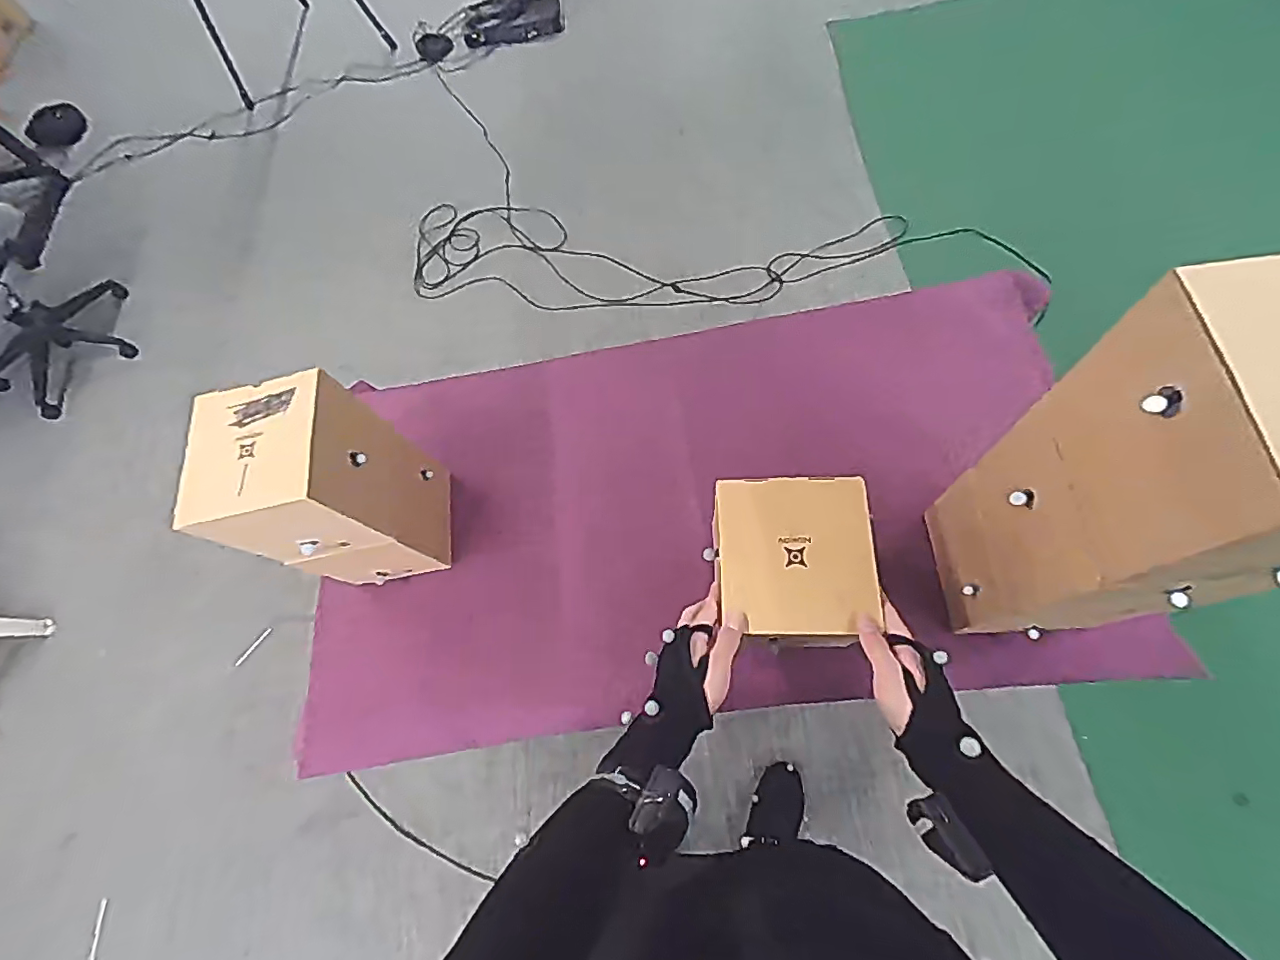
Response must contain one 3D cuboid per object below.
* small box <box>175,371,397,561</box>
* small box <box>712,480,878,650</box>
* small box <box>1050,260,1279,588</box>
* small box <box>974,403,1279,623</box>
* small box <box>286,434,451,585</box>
[{"bbox_3d":[-0.436,-0.009,0.699,0.168,0.176,0.179,-12,67,5],"label":"small box"},{"bbox_3d":[0.174,0.111,0.658,0.168,0.176,0.179,-1,68,7],"label":"small box"},{"bbox_3d":[0.432,-0.030,0.377,0.168,0.176,0.179,-4,67,9],"label":"small box"},{"bbox_3d":[0.459,0.035,0.526,0.168,0.176,0.179,-5,66,9],"label":"small box"},{"bbox_3d":[-0.411,0.053,0.849,0.168,0.176,0.179,-11,67,5],"label":"small box"}]
